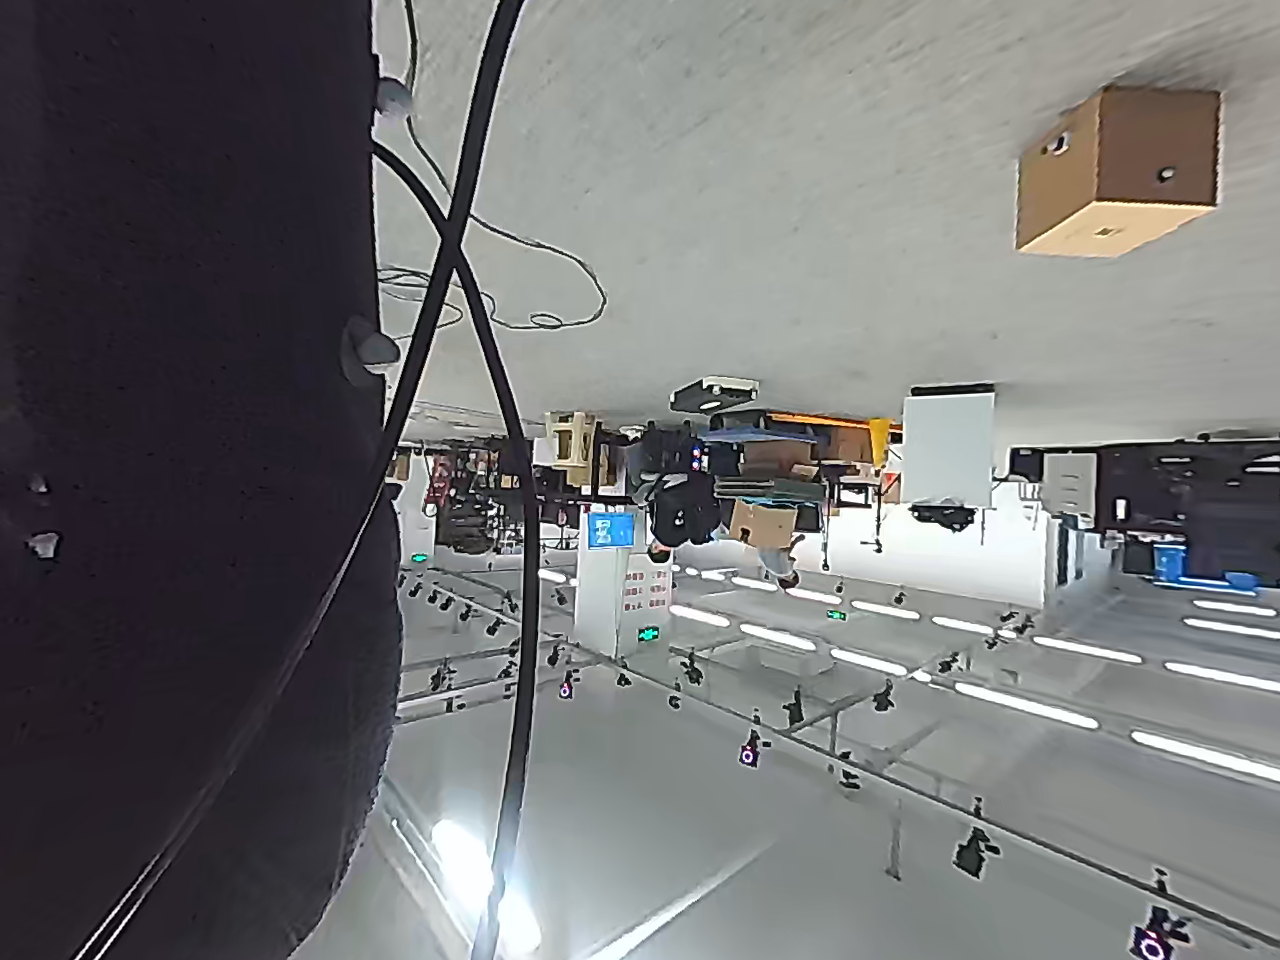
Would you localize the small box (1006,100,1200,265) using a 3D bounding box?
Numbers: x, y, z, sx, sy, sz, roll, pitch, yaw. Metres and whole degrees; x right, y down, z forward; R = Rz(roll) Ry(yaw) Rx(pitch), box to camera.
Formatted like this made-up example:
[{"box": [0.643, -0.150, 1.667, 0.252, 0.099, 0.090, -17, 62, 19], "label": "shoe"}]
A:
[{"box": [0.715, -0.457, 0.847, 0.179, 0.176, 0.168, 3, 178, 0], "label": "small box"}]
